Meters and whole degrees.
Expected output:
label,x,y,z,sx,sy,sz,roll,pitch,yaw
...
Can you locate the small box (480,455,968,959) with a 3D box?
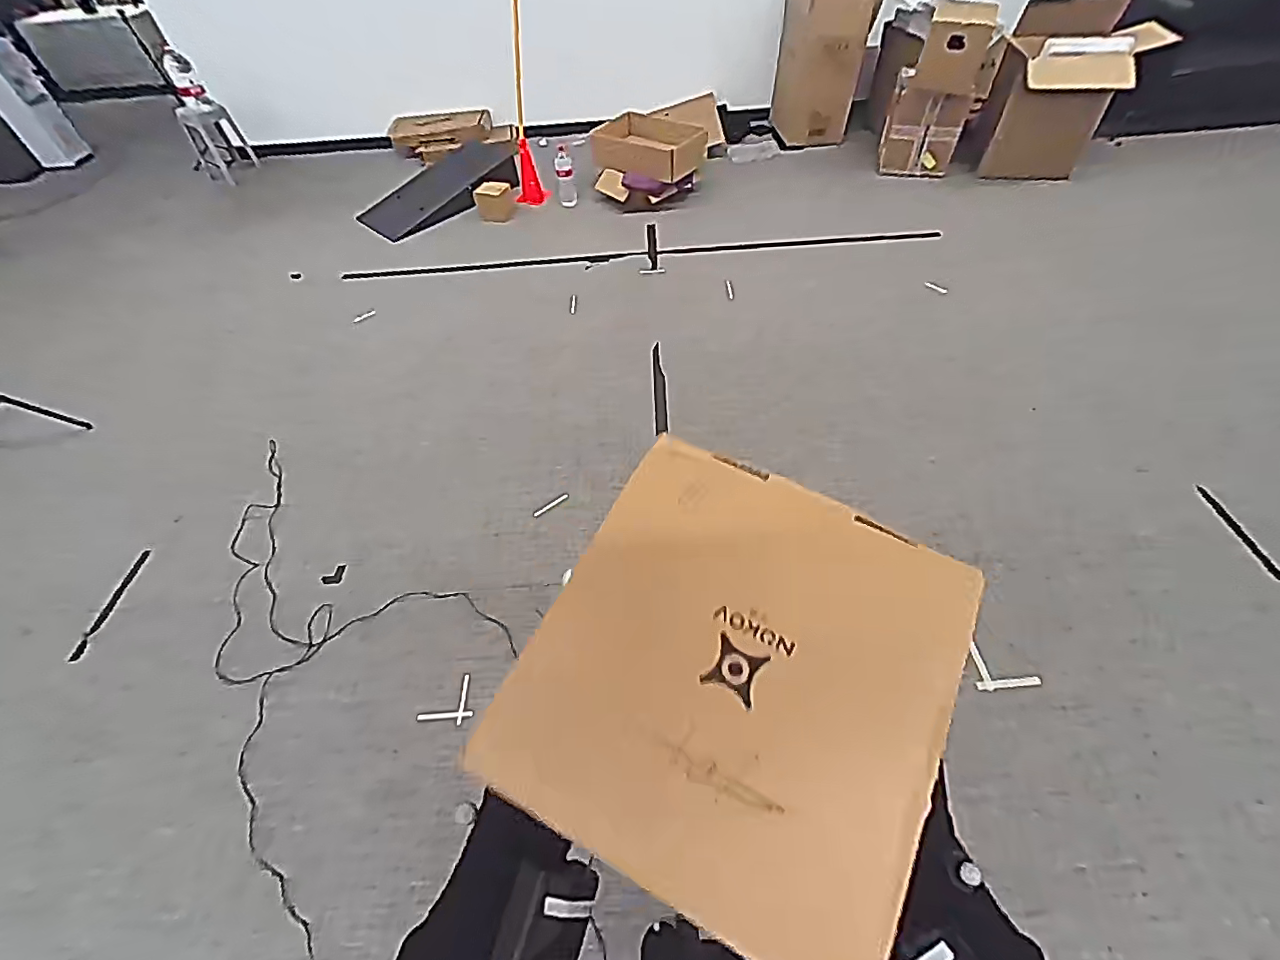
label,x,y,z,sx,sy,sz,roll,pitch,yaw
small box,0.045,0.122,0.307,0.168,0.176,0.179,24,67,14
